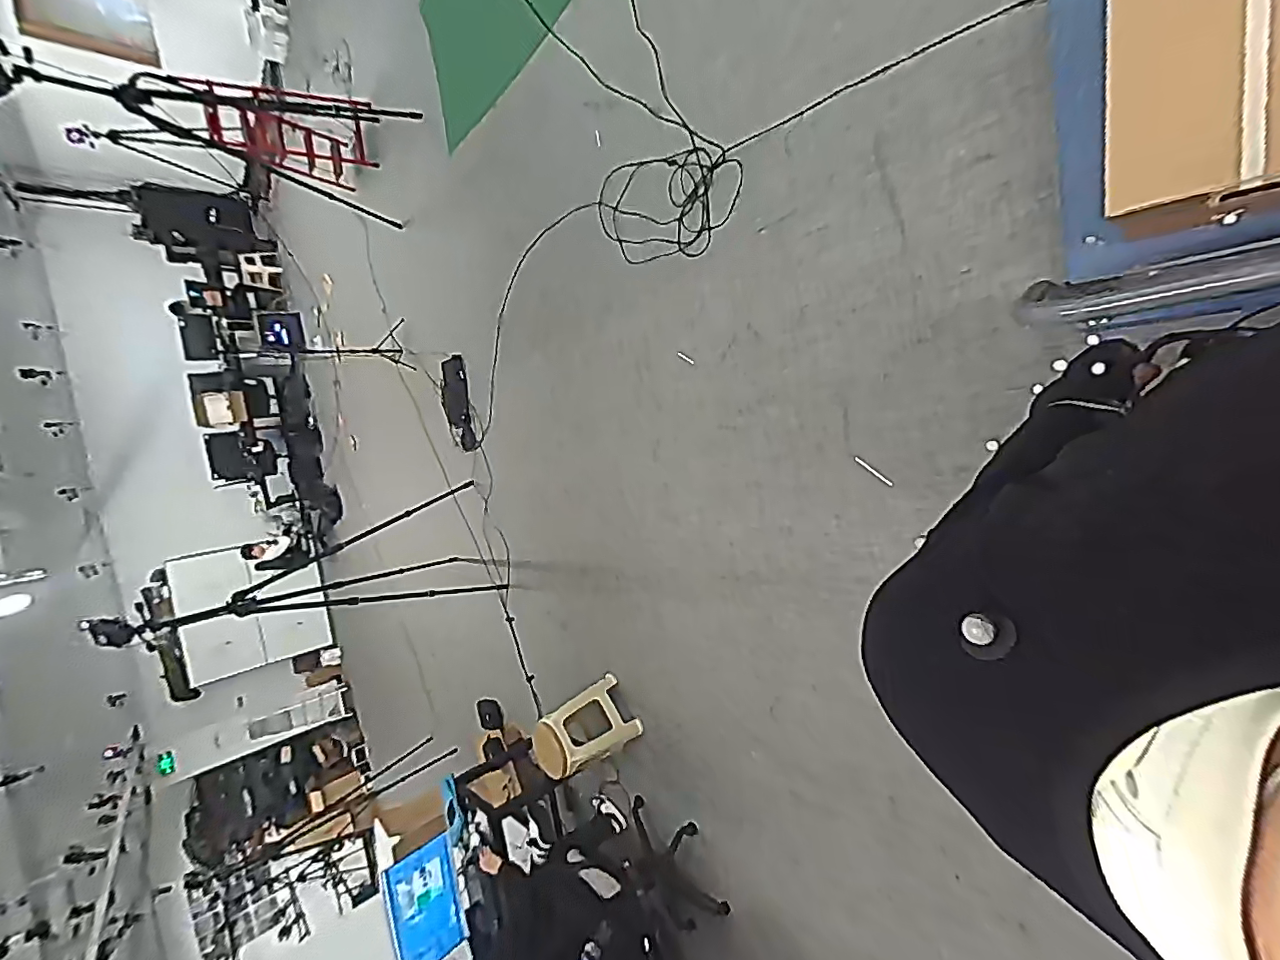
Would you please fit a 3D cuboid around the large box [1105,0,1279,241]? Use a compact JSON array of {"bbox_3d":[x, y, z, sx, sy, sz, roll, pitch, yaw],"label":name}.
[{"bbox_3d":[0.941,-0.634,0.825,0.320,0.320,0.408,2,100,48],"label":"large box"}]
